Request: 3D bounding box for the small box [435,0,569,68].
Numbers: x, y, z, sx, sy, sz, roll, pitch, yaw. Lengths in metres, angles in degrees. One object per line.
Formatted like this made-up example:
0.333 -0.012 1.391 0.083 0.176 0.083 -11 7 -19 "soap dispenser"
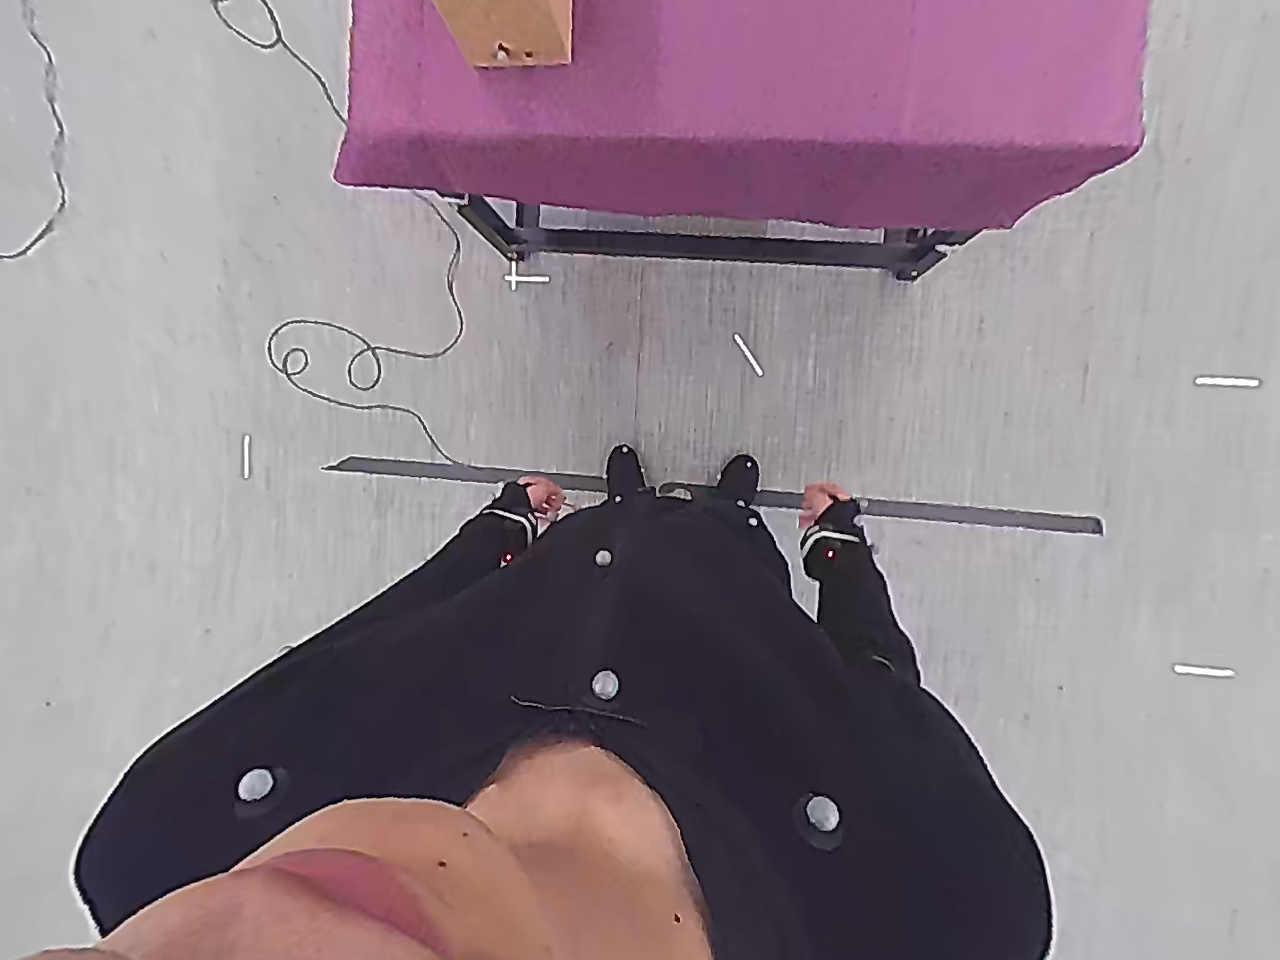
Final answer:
-0.200 -0.737 0.773 0.168 0.176 0.179 2 95 6 "small box"
